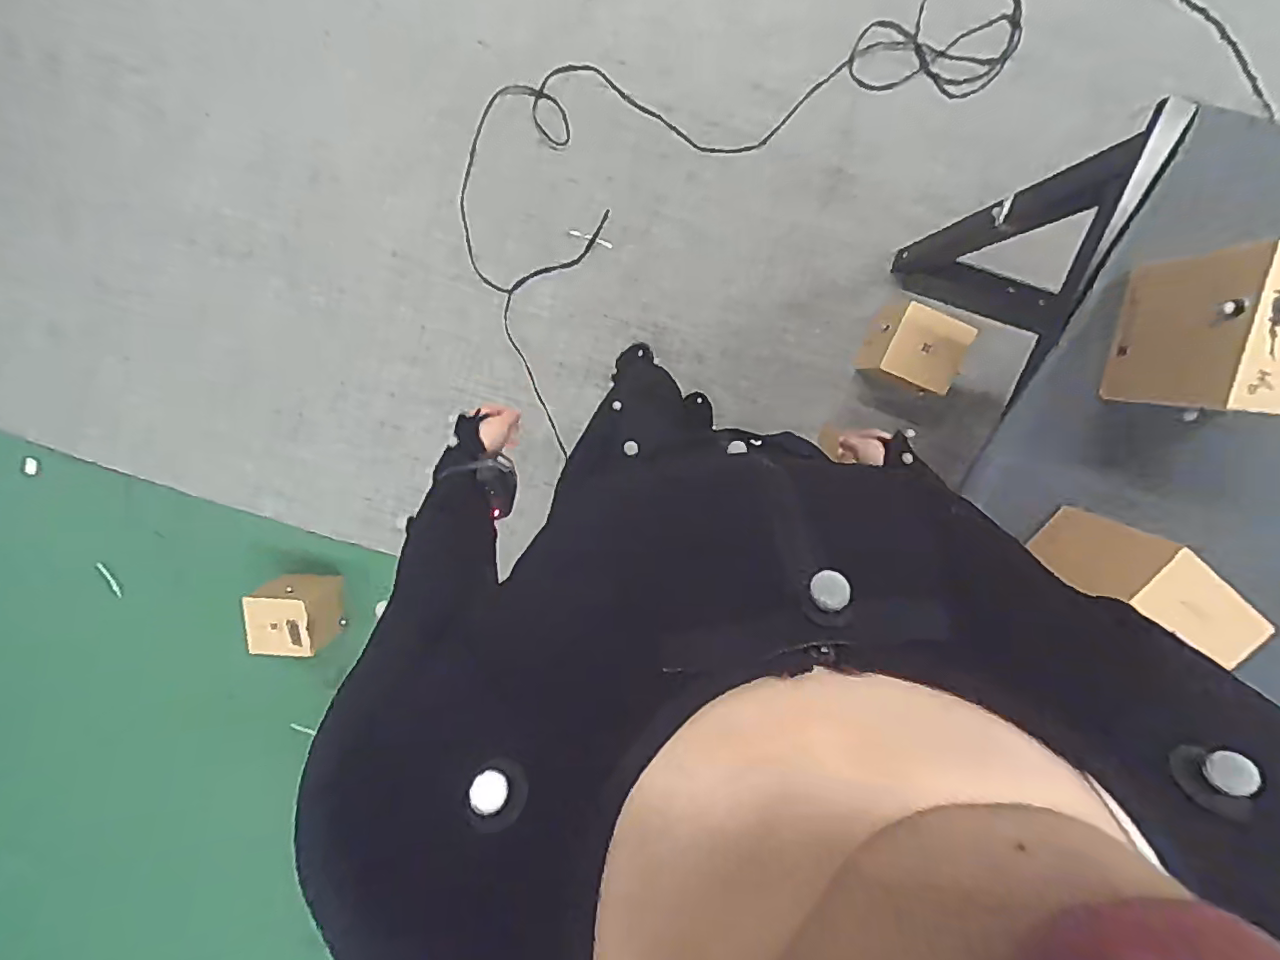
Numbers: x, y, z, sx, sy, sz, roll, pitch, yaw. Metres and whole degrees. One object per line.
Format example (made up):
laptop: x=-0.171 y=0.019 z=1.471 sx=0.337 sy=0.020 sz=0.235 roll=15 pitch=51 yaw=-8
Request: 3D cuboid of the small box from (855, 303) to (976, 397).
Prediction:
small box: x=0.661 y=-0.313 z=1.325 sx=0.179 sy=0.176 sz=0.168 roll=22 pitch=101 yaw=-4

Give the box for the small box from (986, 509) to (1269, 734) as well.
small box: x=0.581 y=0.165 z=0.679 sx=0.168 sy=0.176 sz=0.179 roll=37 pitch=98 yaw=-9

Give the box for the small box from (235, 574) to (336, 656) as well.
small box: x=-0.965 y=0.367 z=1.493 sx=0.179 sy=0.176 sz=0.168 roll=3 pitch=101 yaw=1

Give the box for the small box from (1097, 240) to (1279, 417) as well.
small box: x=0.685 y=-0.160 z=0.609 sx=0.179 sy=0.176 sz=0.168 roll=6 pitch=102 yaw=0
